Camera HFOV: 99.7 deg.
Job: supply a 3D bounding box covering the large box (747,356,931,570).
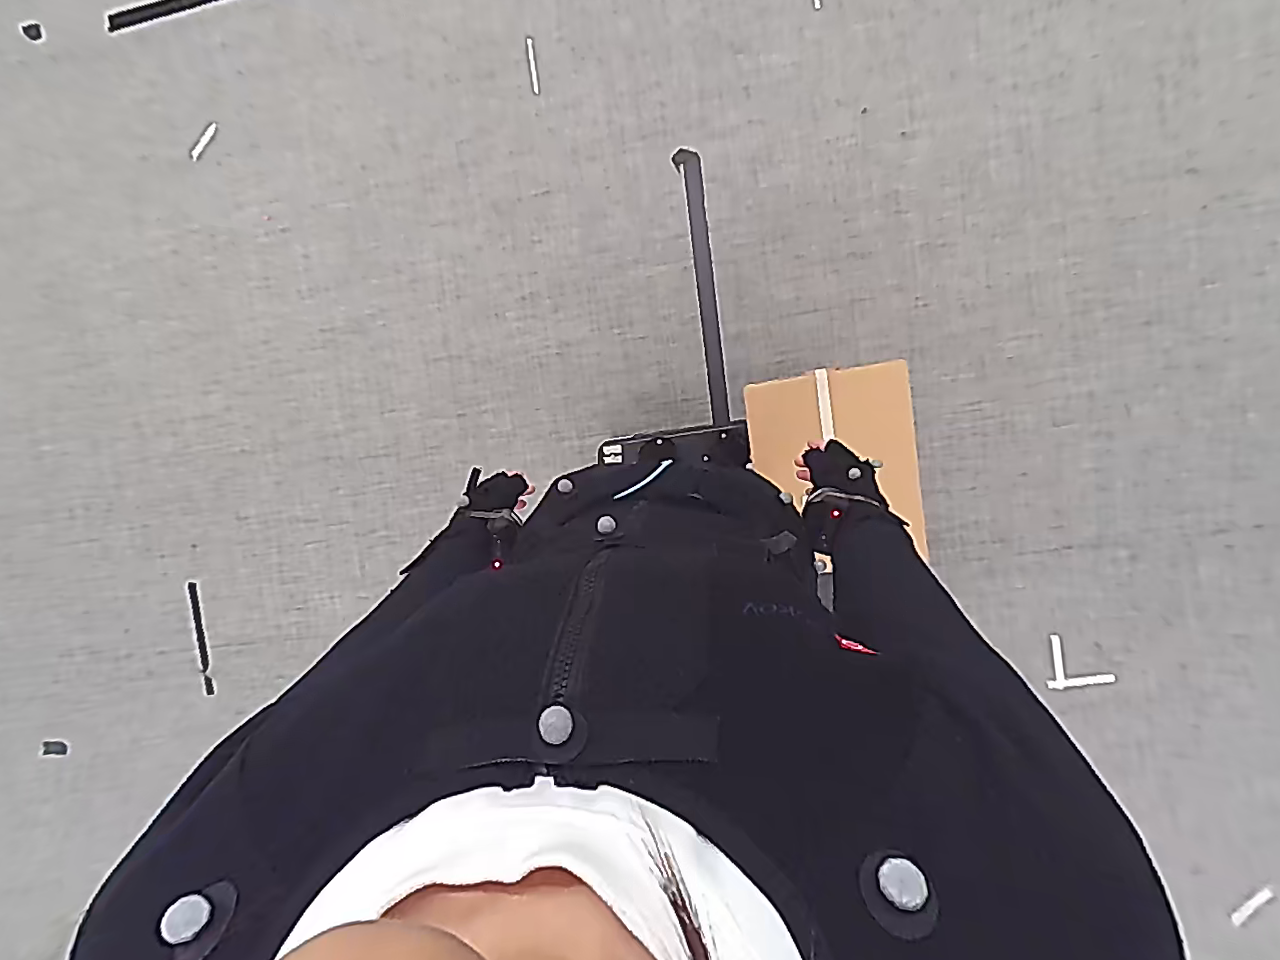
[{"bbox_3d":[0.432,-0.044,1.231,0.320,0.320,0.408,-7,96,16],"label":"large box"}]
